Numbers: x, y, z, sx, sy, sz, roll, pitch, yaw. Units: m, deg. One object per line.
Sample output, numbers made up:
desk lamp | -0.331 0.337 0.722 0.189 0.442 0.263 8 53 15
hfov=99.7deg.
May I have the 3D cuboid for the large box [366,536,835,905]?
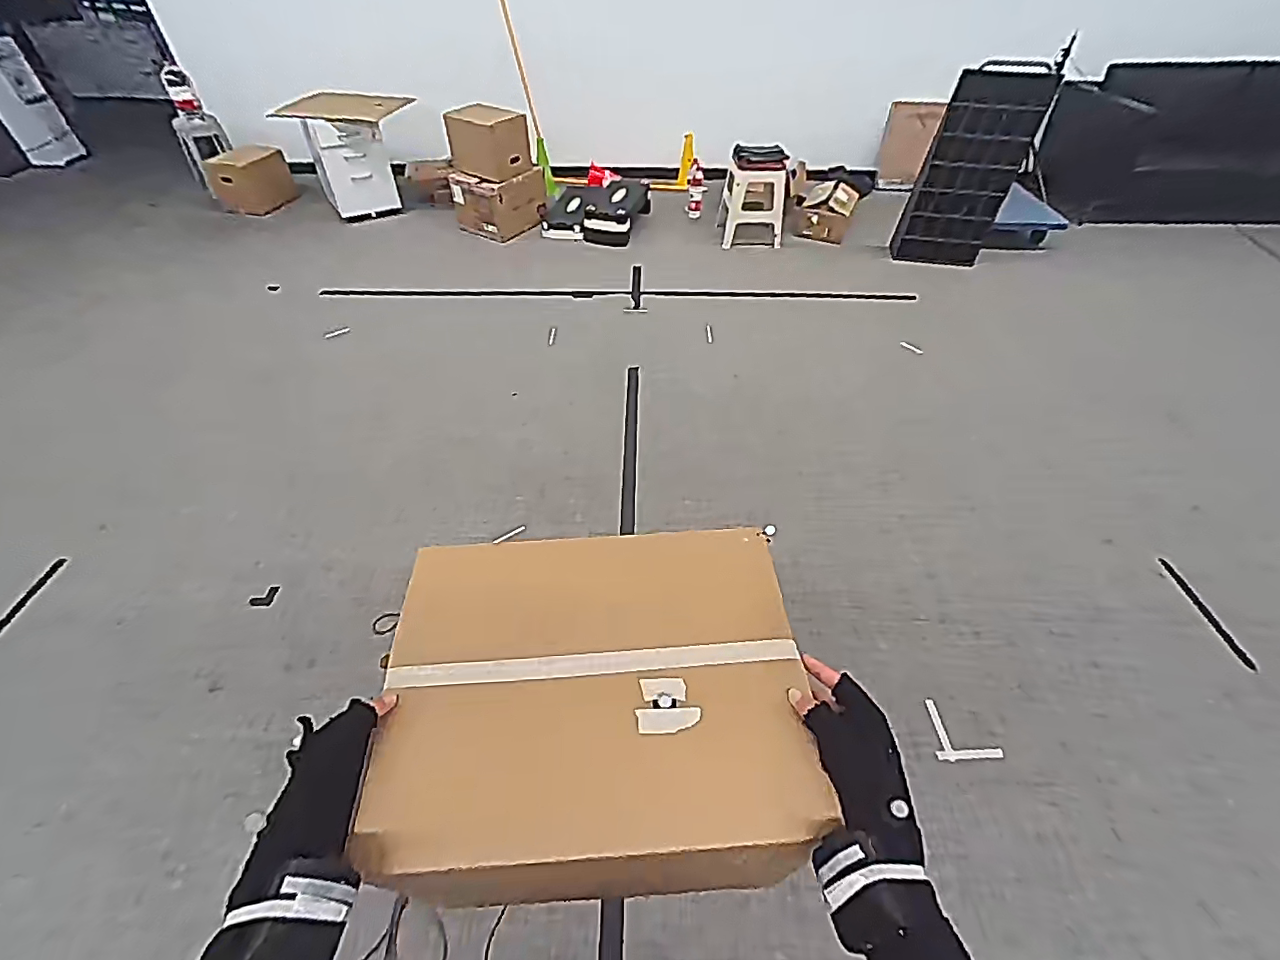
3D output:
large box | -0.040 0.292 0.659 0.408 0.320 0.320 -3 48 -2
